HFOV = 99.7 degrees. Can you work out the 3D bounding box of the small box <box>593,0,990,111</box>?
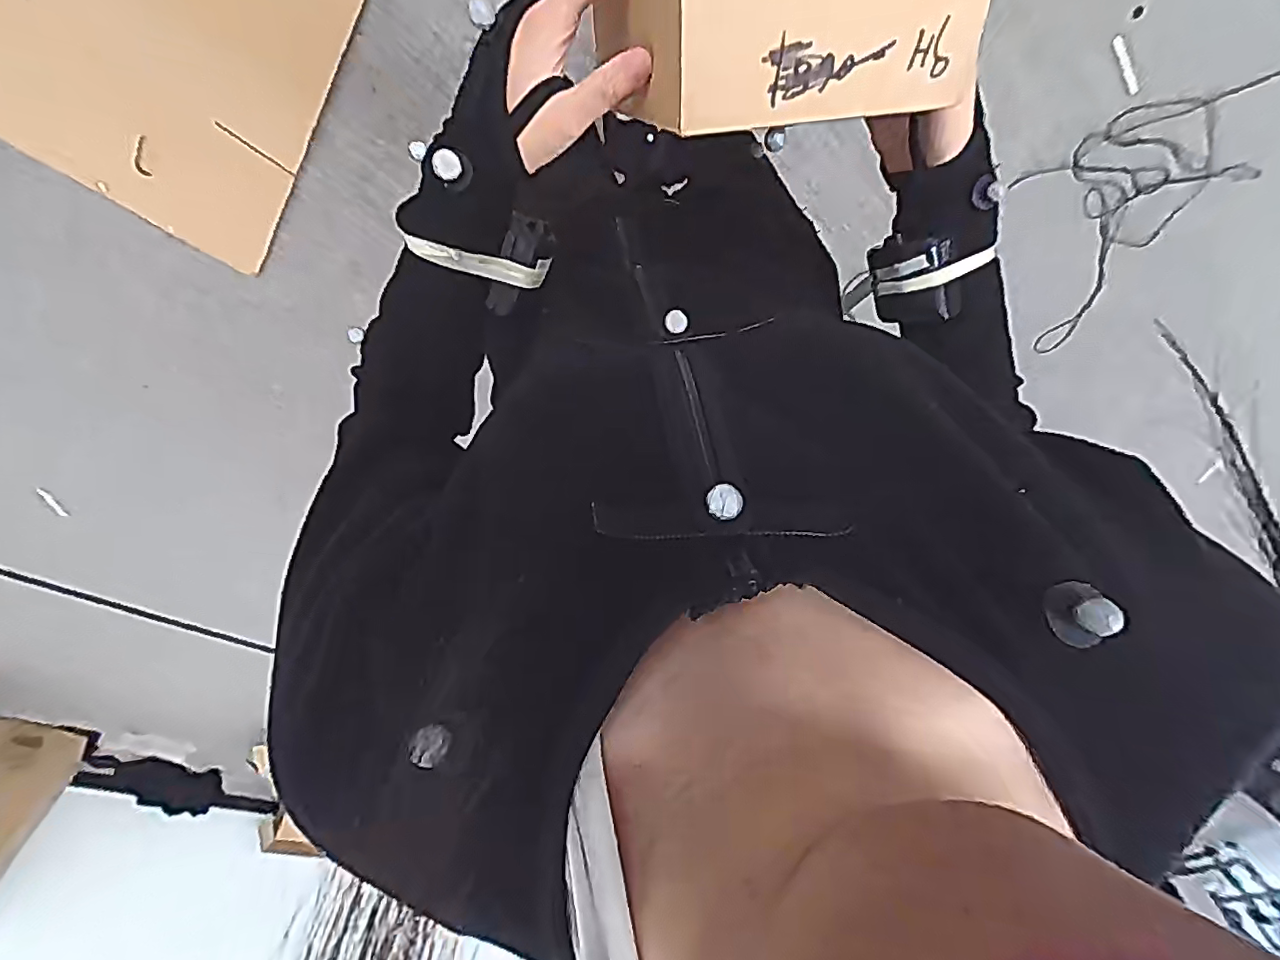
[{"bbox_3d":[0.068,-0.307,0.283,0.168,0.176,0.179,-14,129,-11],"label":"small box"}]
